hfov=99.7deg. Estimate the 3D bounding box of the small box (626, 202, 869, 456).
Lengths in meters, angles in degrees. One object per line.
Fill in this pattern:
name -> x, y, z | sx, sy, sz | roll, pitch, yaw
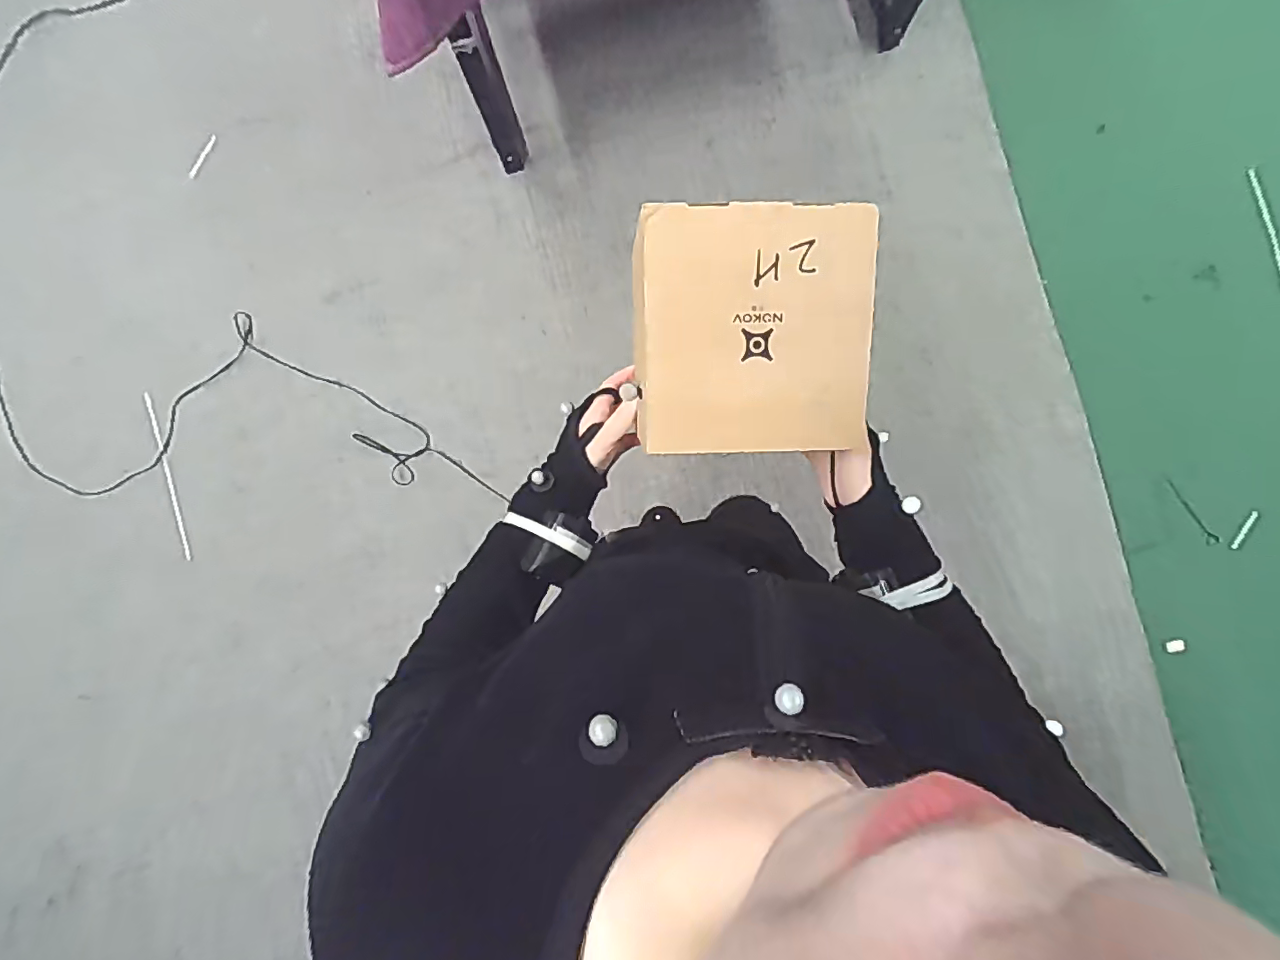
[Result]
small box -> 0.074, -0.121, 0.464 | 0.168, 0.176, 0.179 | -2, 101, -3
